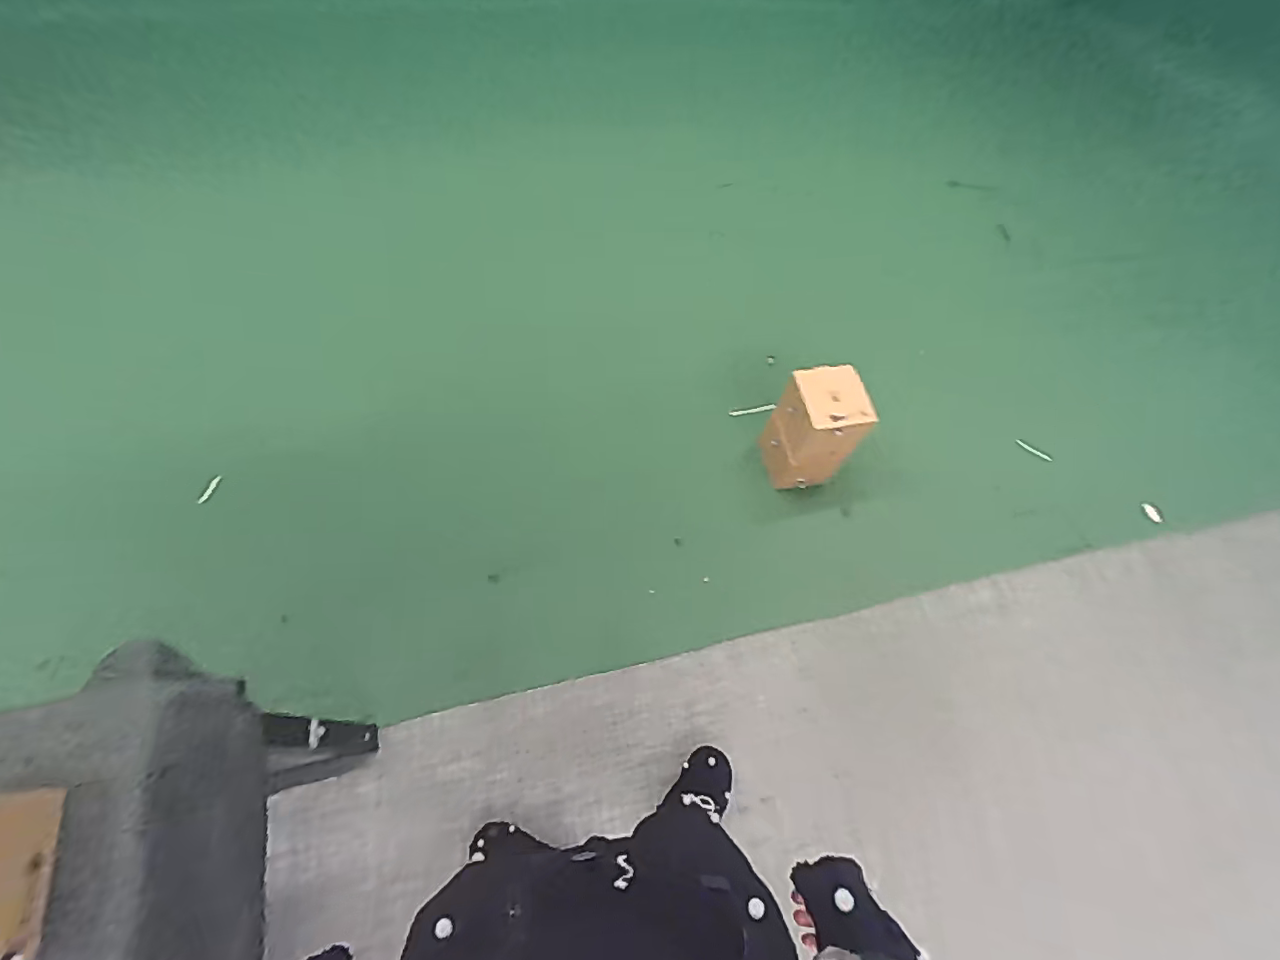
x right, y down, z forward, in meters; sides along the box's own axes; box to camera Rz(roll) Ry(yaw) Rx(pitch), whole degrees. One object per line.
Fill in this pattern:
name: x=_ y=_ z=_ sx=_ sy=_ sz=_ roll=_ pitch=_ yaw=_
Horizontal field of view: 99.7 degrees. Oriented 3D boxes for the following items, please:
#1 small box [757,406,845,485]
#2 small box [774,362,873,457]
small box: x=0.454 y=-0.105 z=1.557 sx=0.168 sy=0.176 sz=0.179 roll=-9 pitch=66 yaw=-9
small box: x=0.468 y=-0.182 z=1.412 sx=0.168 sy=0.176 sz=0.179 roll=-8 pitch=64 yaw=-8
